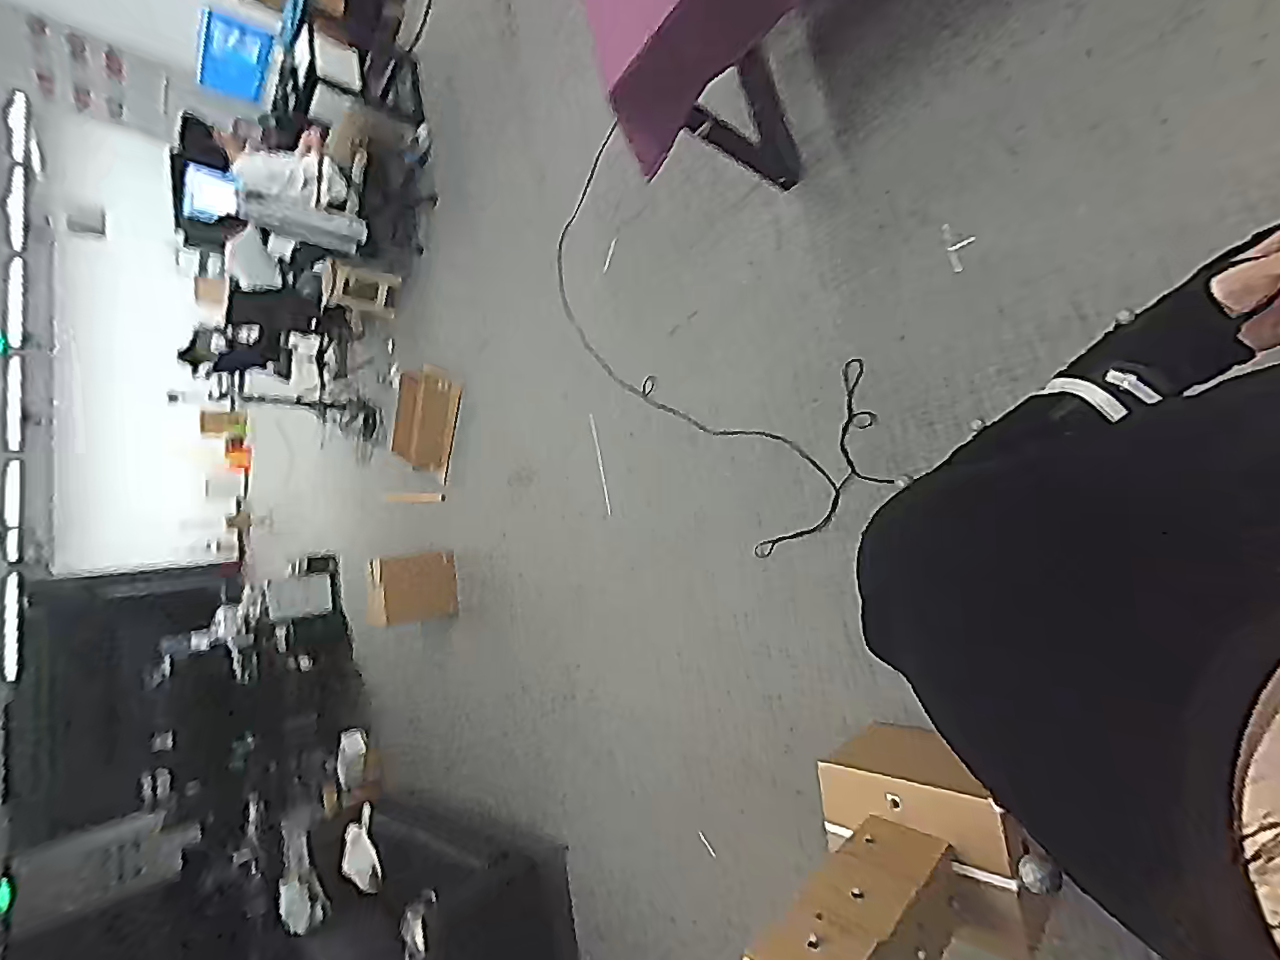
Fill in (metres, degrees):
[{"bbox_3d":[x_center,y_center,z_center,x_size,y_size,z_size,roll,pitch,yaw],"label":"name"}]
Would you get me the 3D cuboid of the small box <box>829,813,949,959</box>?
[{"bbox_3d":[0.526,0.845,1.145,0.179,0.176,0.168,-7,88,46],"label":"small box"}]
